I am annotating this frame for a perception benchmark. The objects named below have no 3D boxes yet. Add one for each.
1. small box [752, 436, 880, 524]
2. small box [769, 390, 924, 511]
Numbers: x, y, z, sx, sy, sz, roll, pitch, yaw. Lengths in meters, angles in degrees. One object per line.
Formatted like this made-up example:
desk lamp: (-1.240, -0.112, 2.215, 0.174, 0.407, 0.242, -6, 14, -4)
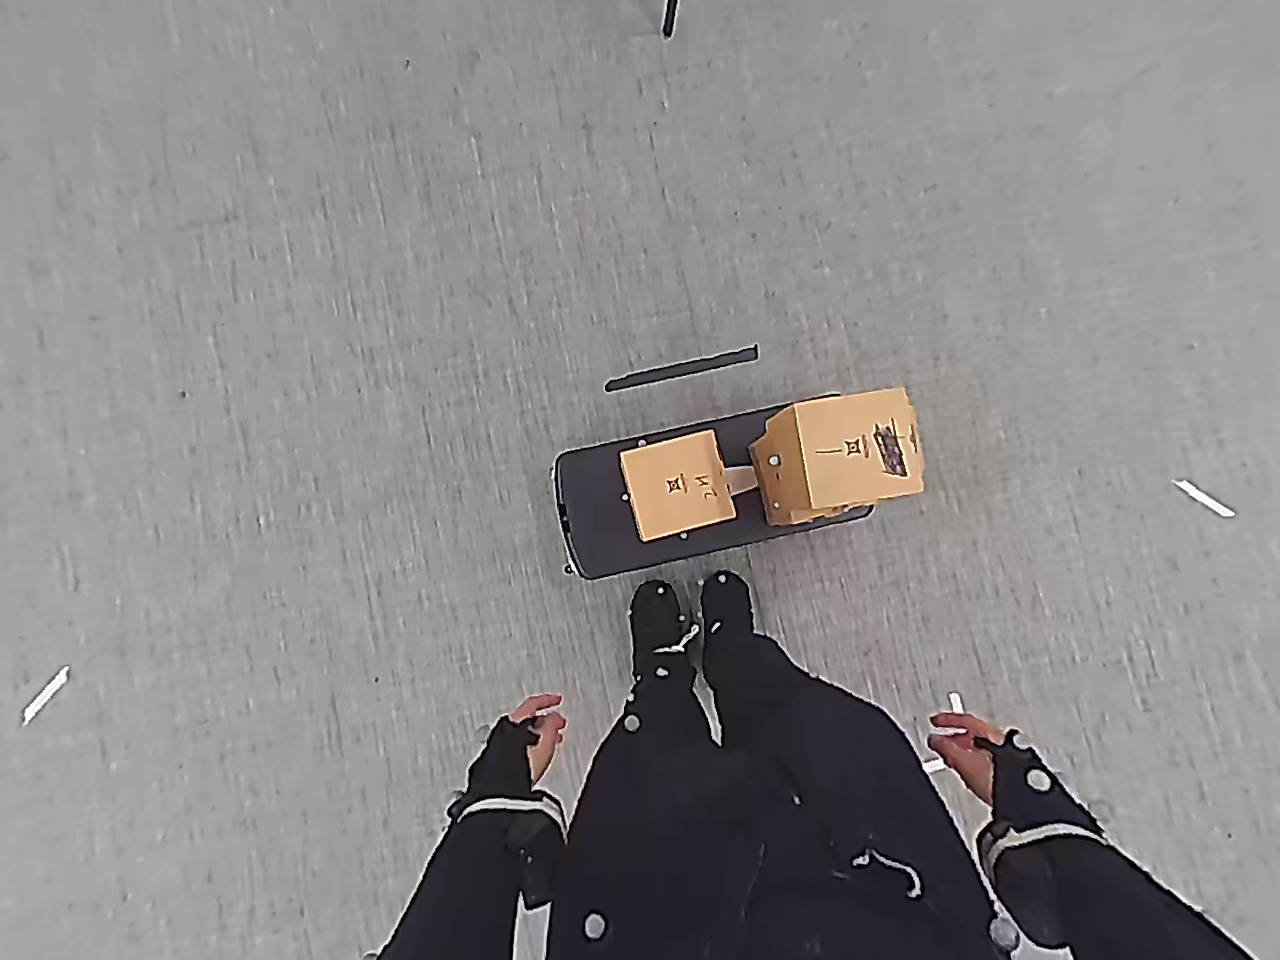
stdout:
small box: (0.331, -0.016, 1.054, 0.168, 0.176, 0.179, -14, 87, -3)
small box: (0.329, -0.041, 0.891, 0.179, 0.176, 0.168, -8, 86, -2)
